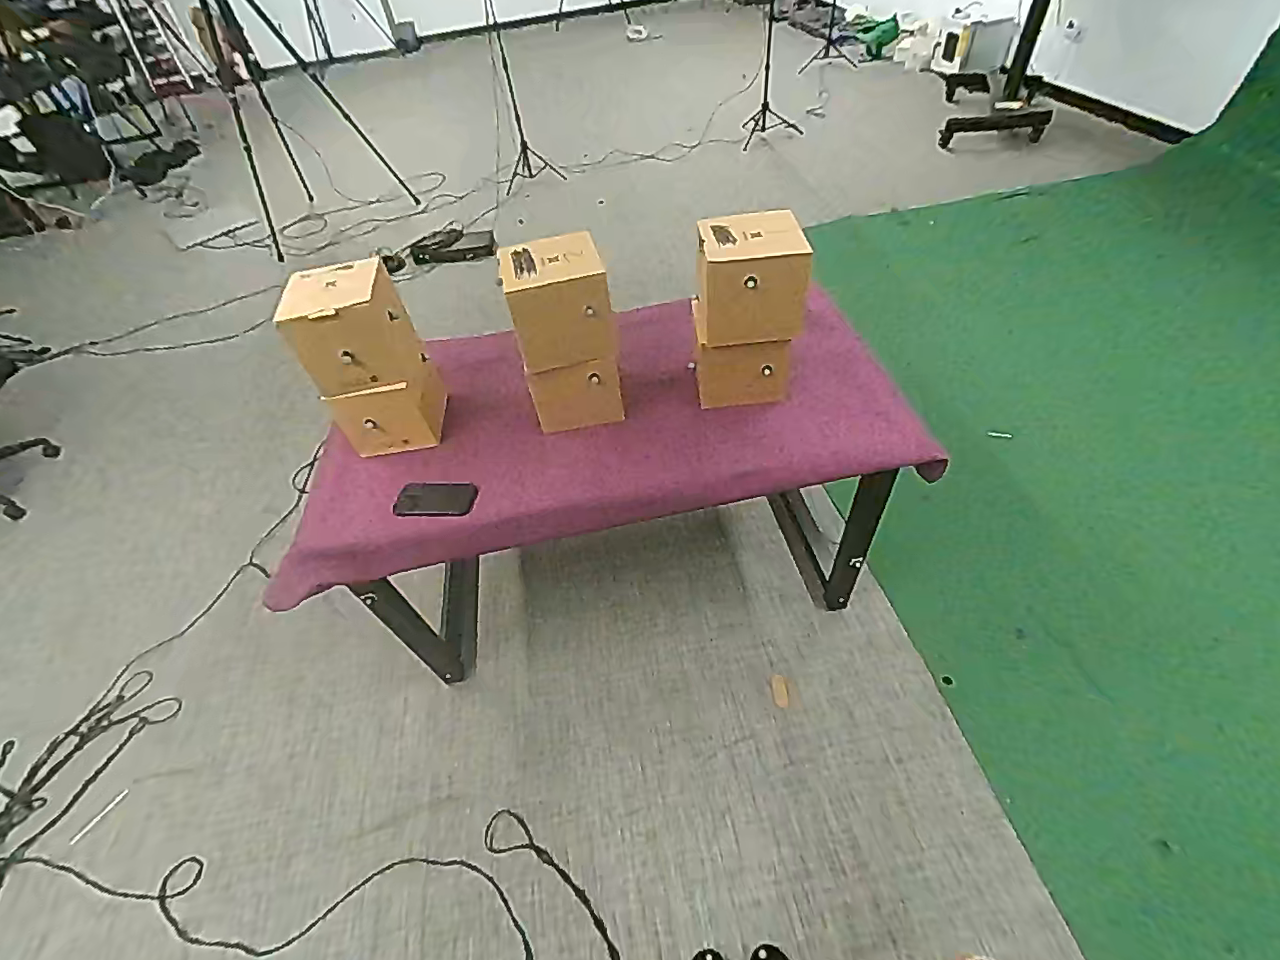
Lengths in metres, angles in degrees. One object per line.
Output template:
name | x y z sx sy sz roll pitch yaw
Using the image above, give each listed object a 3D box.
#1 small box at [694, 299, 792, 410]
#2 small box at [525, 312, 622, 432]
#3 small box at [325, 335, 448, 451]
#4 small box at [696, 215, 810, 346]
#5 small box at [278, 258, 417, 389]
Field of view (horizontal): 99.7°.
small box | 0.205 -0.265 1.128 0.179 0.176 0.168 -5 49 4
small box | -0.133 -0.223 1.132 0.179 0.176 0.168 -9 49 0
small box | -0.521 -0.176 1.143 0.168 0.176 0.179 -9 49 0
small box | 0.199 -0.362 0.994 0.179 0.176 0.168 -4 49 3
small box | -0.538 -0.289 1.025 0.168 0.176 0.179 -12 50 -4
